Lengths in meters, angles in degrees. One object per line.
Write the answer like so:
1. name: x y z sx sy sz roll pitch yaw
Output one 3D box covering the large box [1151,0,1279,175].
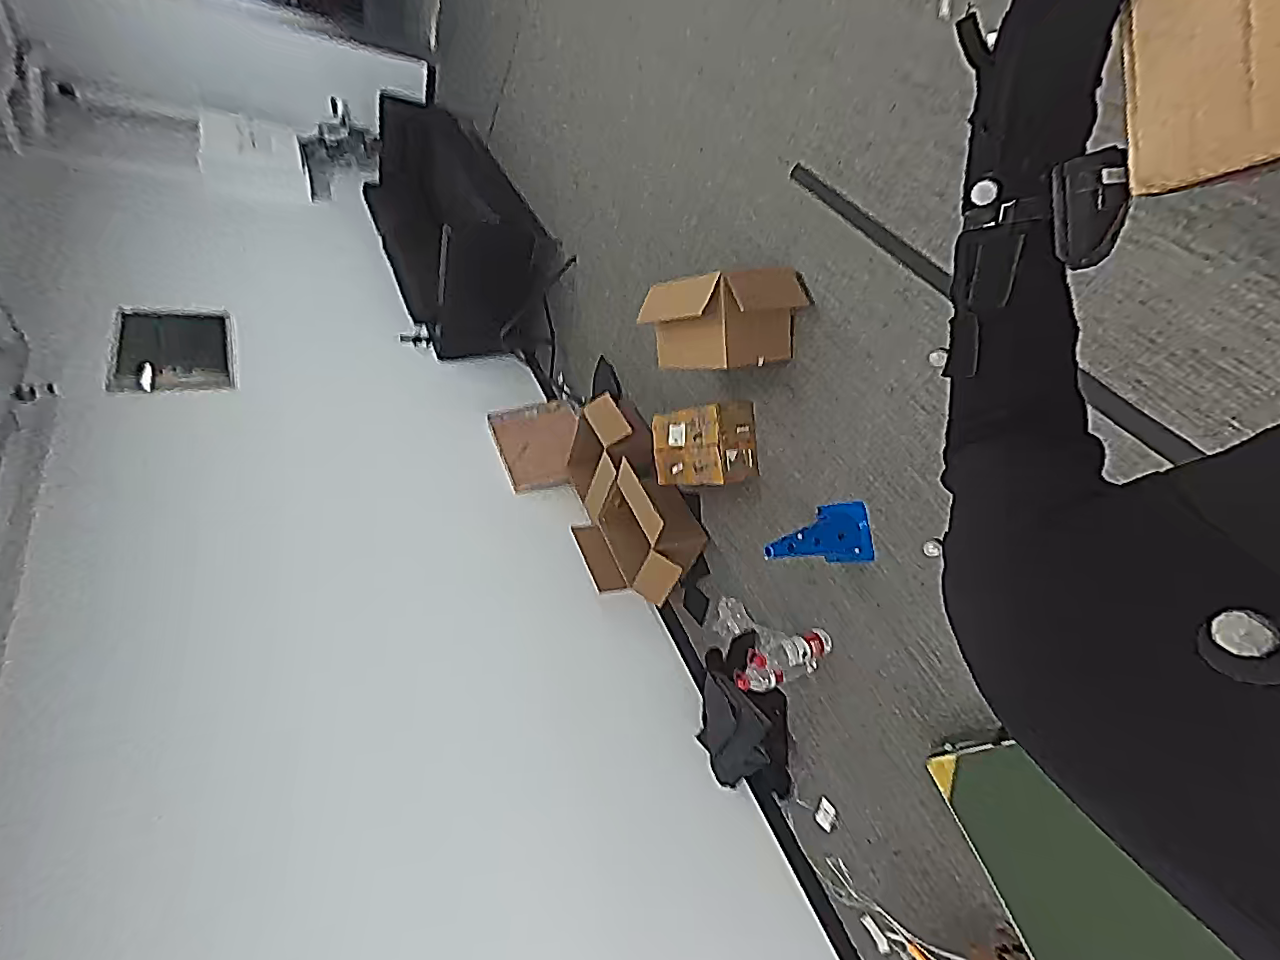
1. large box: 0.491 -0.360 0.198 0.408 0.320 0.320 4 114 56
